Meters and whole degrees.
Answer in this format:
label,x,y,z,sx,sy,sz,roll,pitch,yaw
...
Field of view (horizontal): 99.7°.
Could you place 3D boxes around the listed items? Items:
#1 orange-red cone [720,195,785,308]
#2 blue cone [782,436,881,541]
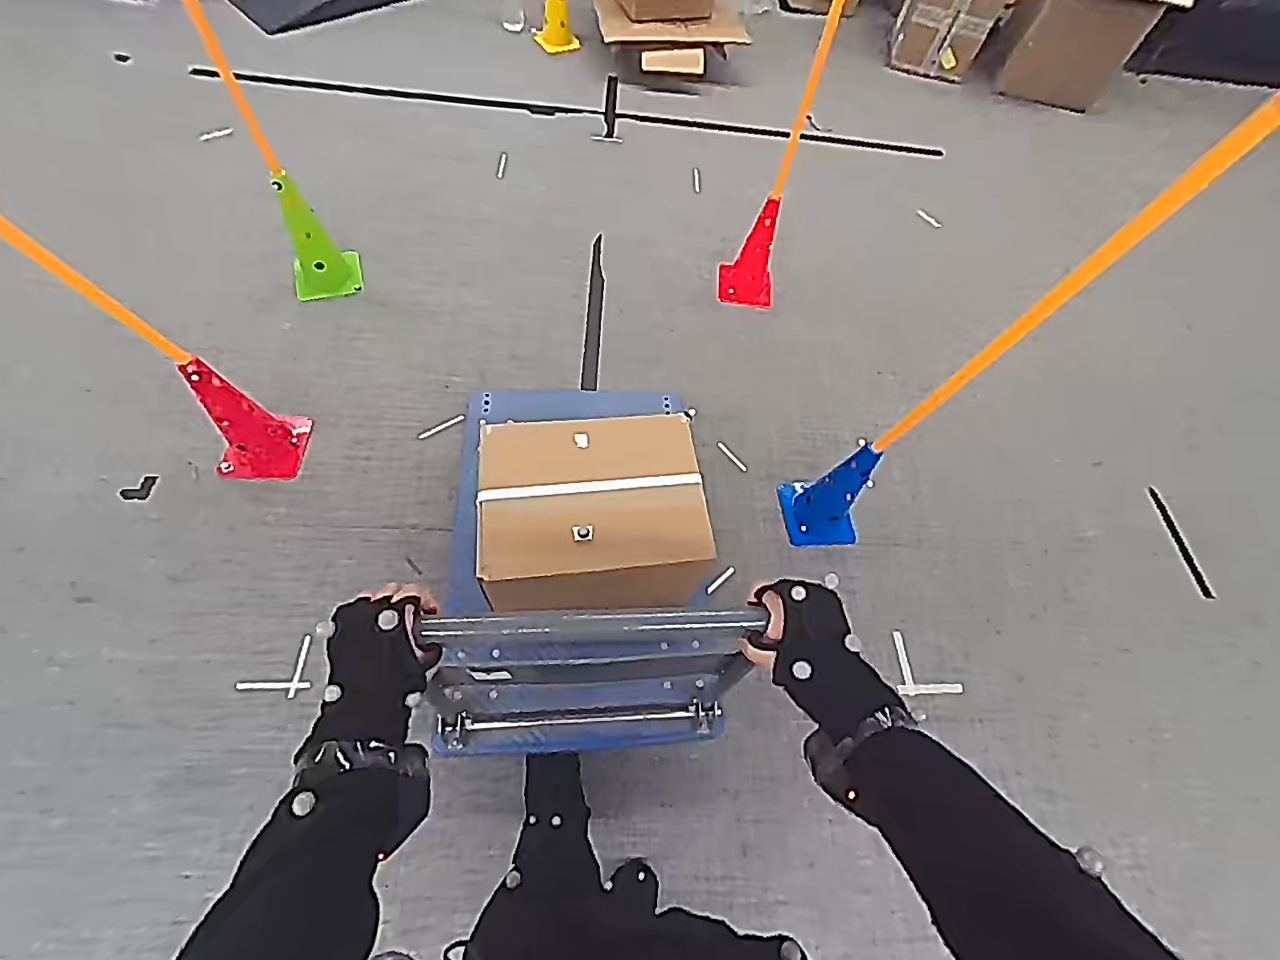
label,x,y,z,sx,sy,sz,roll,pitch,yaw
orange-red cone,0.417,-0.795,1.839,0.199,0.360,0.198,10,62,-3
blue cone,0.536,0.011,1.431,0.193,0.380,0.192,0,60,-7
